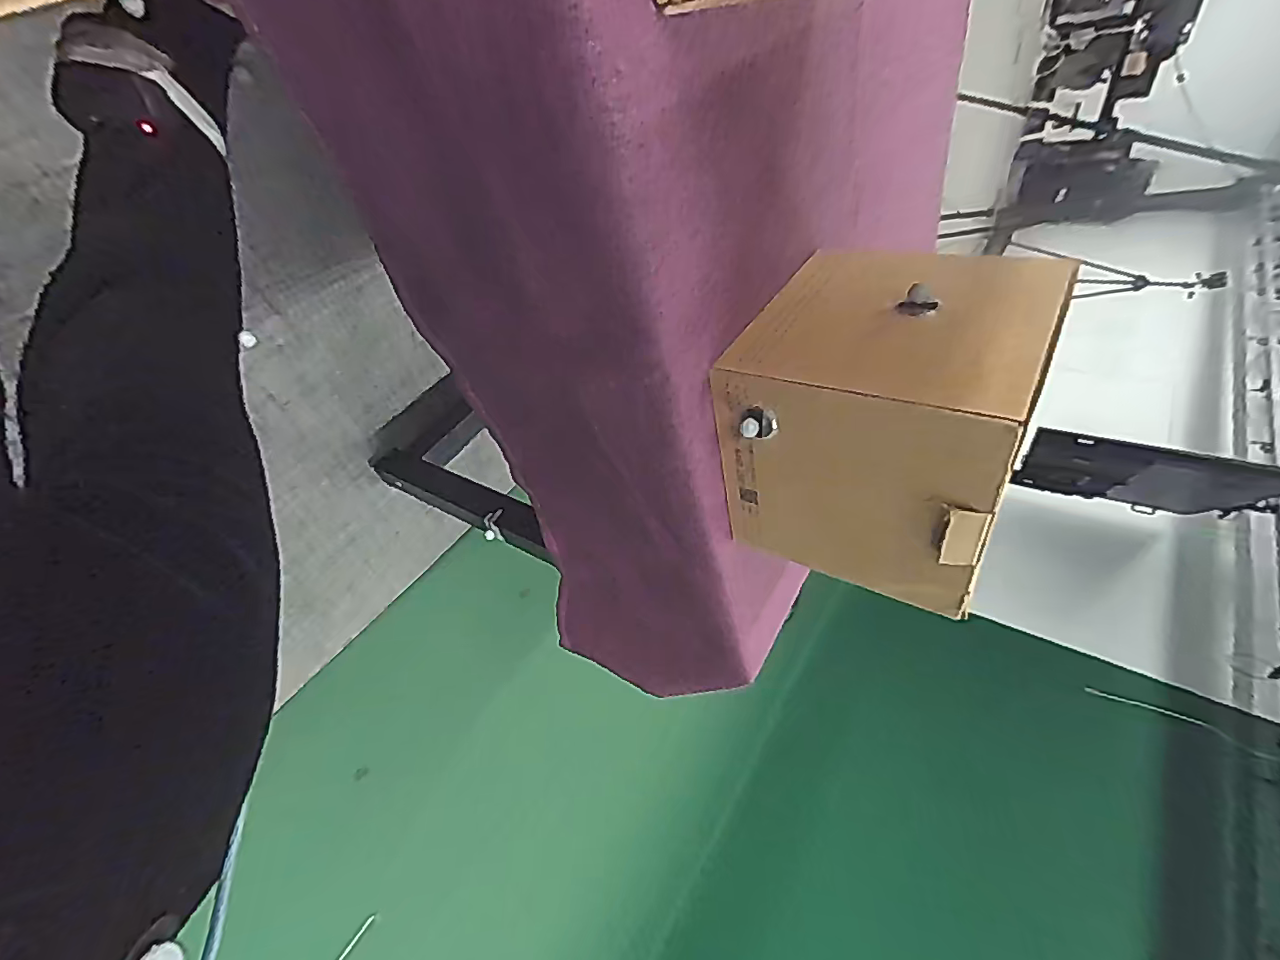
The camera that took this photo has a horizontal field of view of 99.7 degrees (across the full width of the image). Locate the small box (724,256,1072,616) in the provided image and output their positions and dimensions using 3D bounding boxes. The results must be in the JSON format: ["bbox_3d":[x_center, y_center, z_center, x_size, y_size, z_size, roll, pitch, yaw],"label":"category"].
[{"bbox_3d":[0.169,-0.043,0.386,0.179,0.176,0.168,-49,141,-31],"label":"small box"}]
